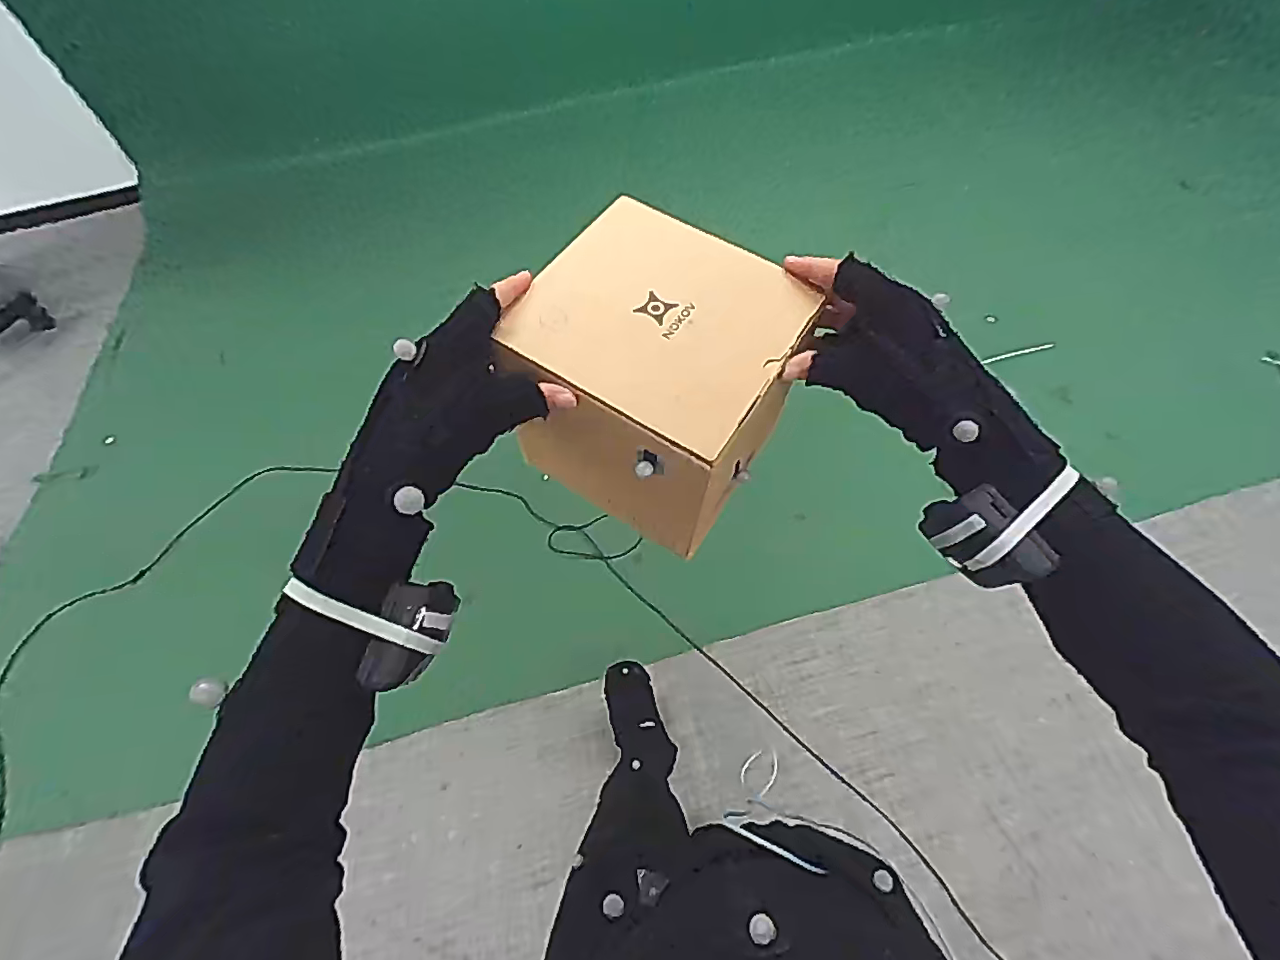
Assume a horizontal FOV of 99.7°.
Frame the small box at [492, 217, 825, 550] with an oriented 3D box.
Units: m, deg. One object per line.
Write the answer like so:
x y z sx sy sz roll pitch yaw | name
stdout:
0.013 -0.068 0.441 0.179 0.176 0.168 31 66 13 | small box
